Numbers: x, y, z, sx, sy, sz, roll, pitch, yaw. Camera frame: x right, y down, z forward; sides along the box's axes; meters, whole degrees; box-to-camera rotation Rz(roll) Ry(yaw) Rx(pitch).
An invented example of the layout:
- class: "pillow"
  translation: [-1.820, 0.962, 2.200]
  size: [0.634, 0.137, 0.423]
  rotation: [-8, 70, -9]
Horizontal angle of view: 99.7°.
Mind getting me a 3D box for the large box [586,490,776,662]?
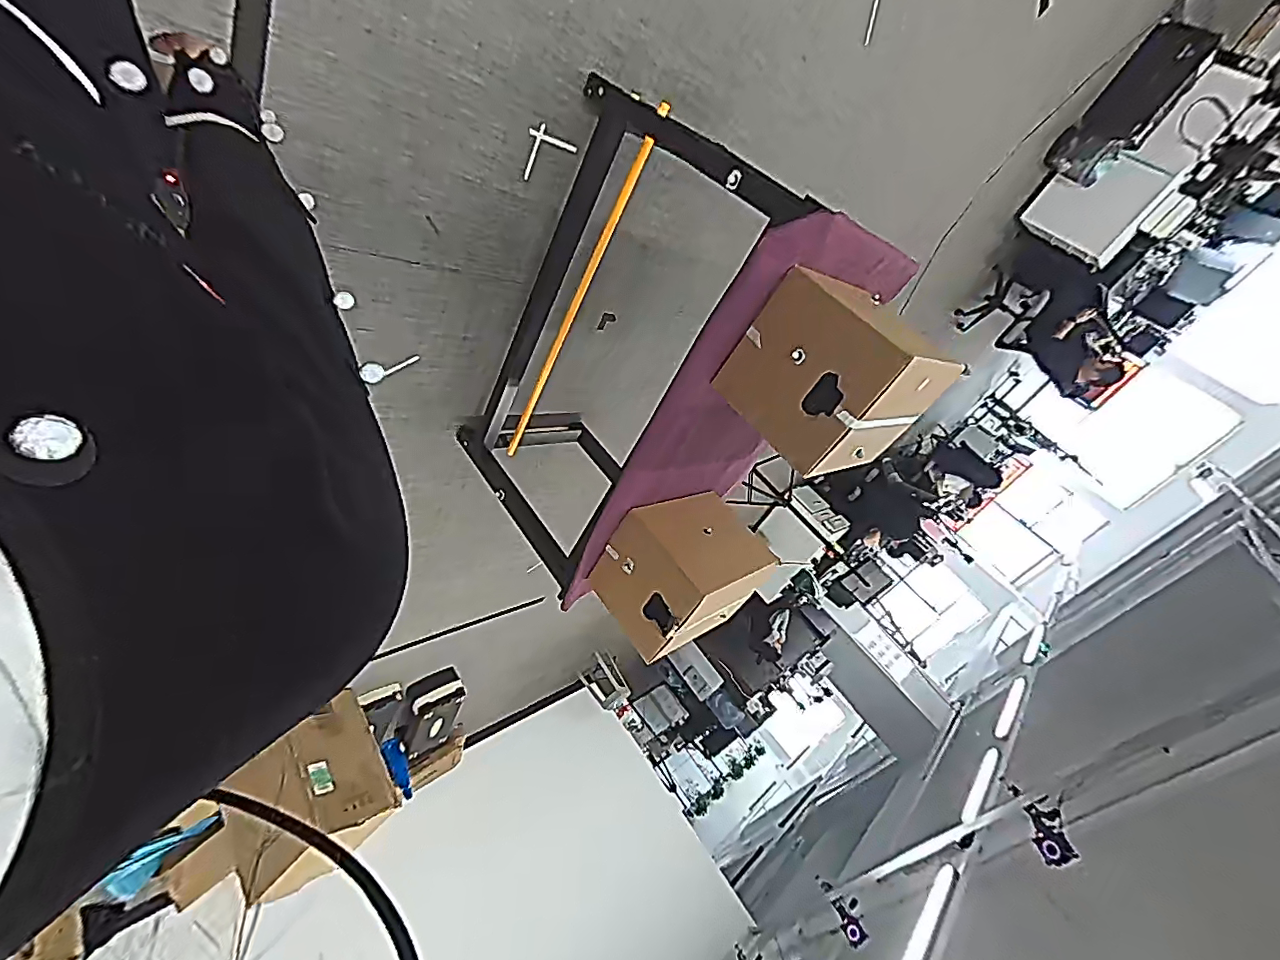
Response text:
- class: "large box"
  translation: [0.117, 0.263, 1.601]
  size: [0.408, 0.320, 0.320]
  rotation: [-11, 142, -48]
